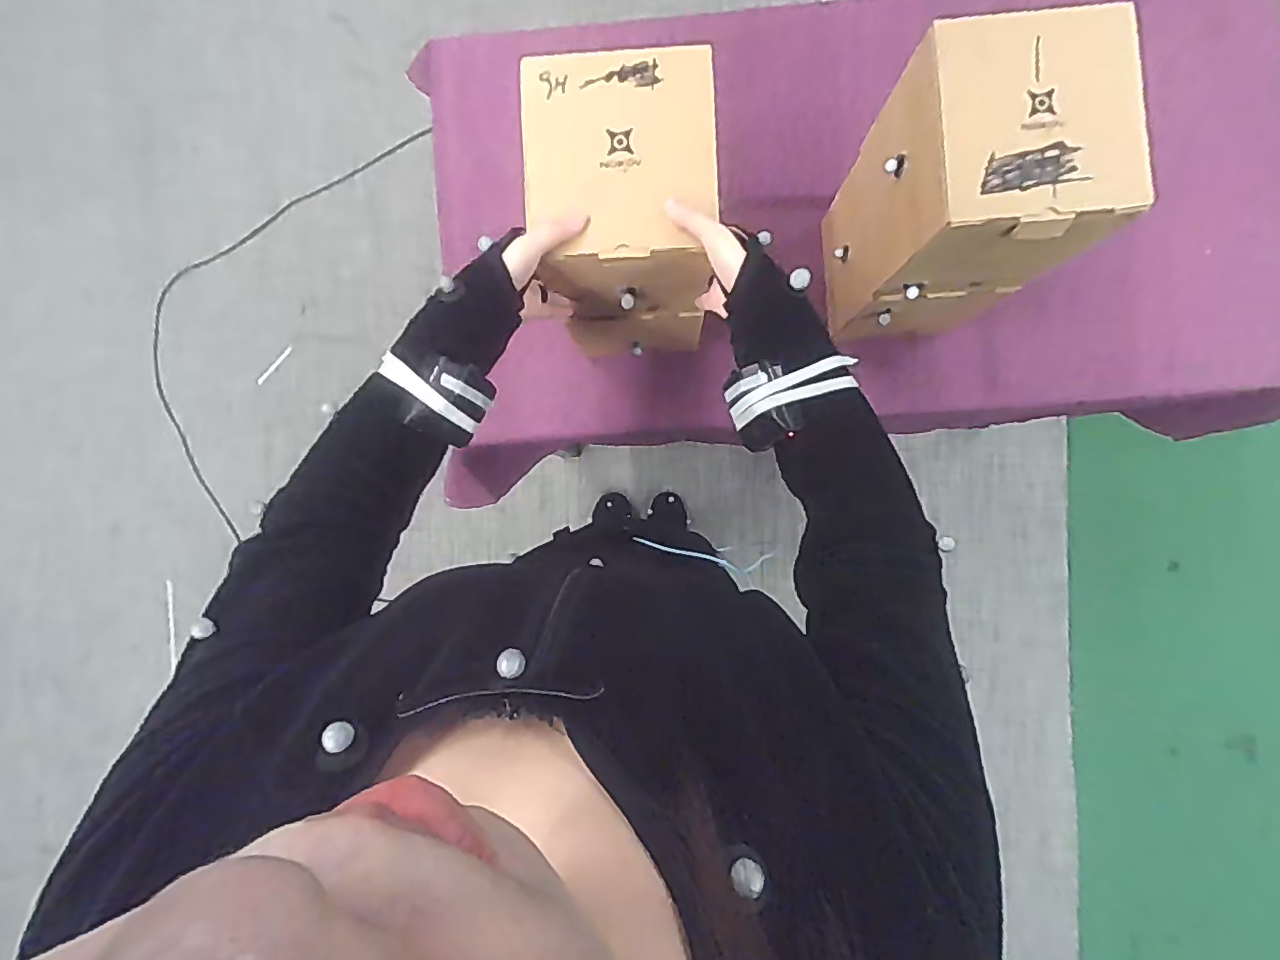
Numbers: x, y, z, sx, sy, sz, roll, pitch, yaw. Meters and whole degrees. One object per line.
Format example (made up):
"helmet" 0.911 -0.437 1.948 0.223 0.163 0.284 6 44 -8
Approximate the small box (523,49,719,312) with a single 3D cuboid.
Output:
"small box" -0.012 -0.274 0.538 0.168 0.176 0.179 -2 90 2

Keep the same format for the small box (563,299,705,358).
"small box" -0.007 -0.268 0.703 0.168 0.176 0.179 -2 89 3

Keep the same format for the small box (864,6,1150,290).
"small box" 0.333 -0.298 0.526 0.168 0.176 0.179 -4 88 2
